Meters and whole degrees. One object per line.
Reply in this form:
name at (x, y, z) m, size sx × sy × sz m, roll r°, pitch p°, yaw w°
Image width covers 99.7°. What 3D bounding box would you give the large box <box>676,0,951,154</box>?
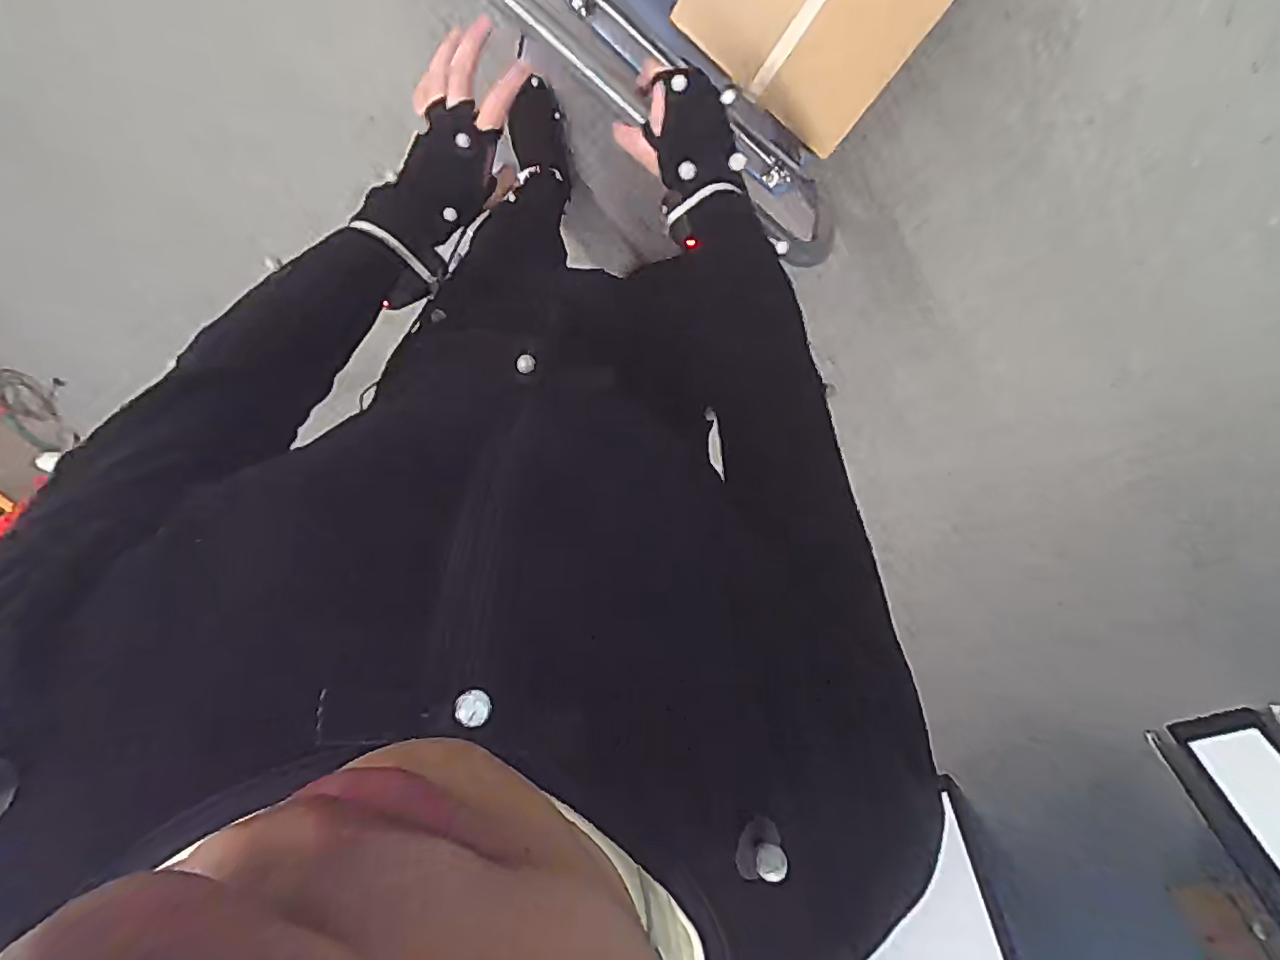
large box at (0.297, -0.799, 0.835) m, size 0.320 × 0.320 × 0.408 m, roll 32°, pitch 123°, yaw -16°
